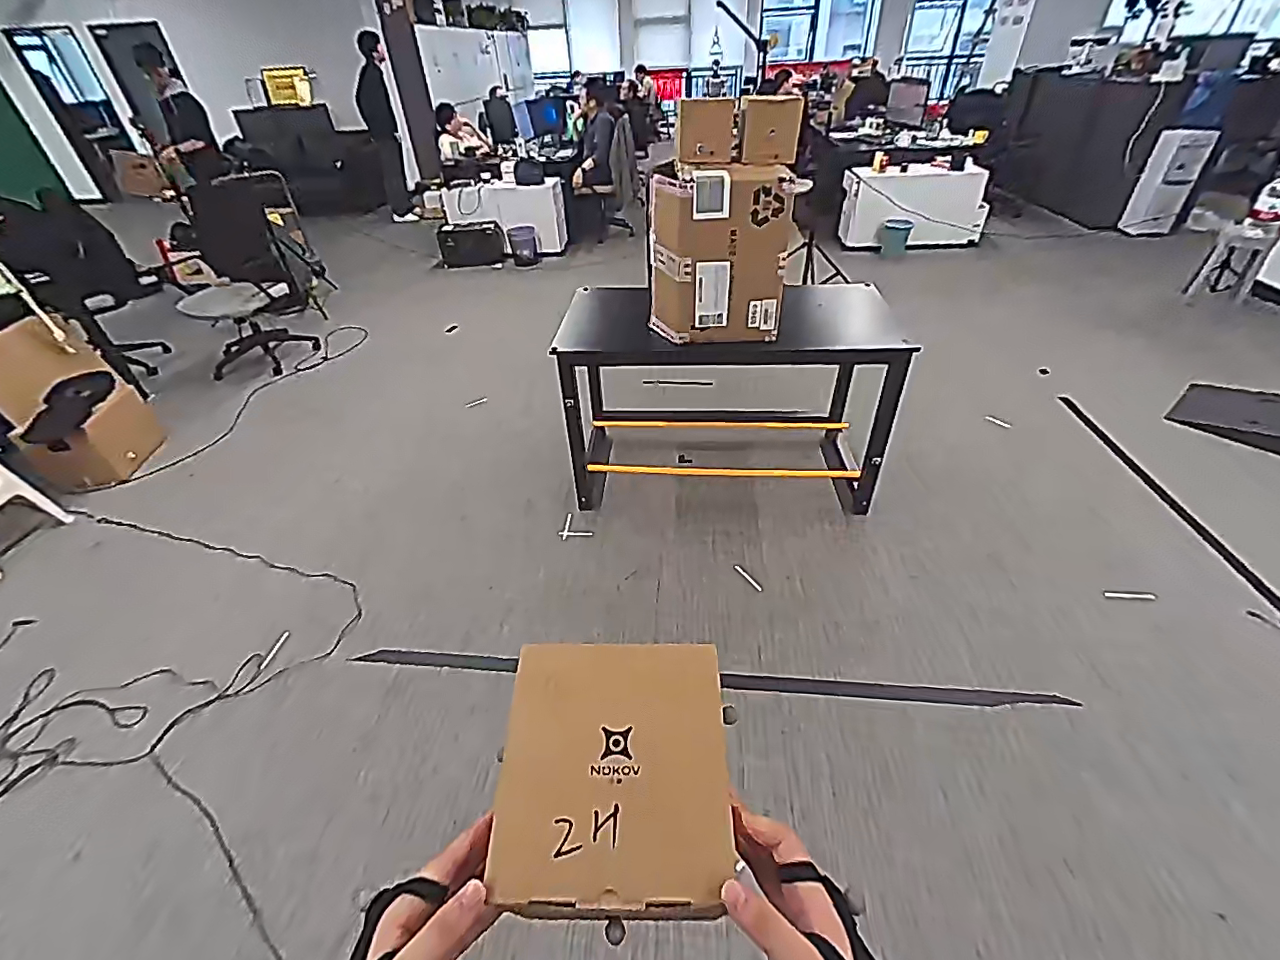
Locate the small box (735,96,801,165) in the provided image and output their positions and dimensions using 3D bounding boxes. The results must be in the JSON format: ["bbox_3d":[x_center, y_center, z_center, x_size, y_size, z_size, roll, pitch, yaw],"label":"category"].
[{"bbox_3d":[0.395,-1.095,1.694,0.168,0.176,0.179,1,39,1],"label":"small box"}]

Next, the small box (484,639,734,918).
[{"bbox_3d":[-0.018,0.254,0.462,0.168,0.176,0.179,-1,48,2],"label":"small box"}]

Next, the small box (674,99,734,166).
[{"bbox_3d":[0.197,-1.103,1.714,0.168,0.176,0.179,-3,37,-1],"label":"small box"}]
